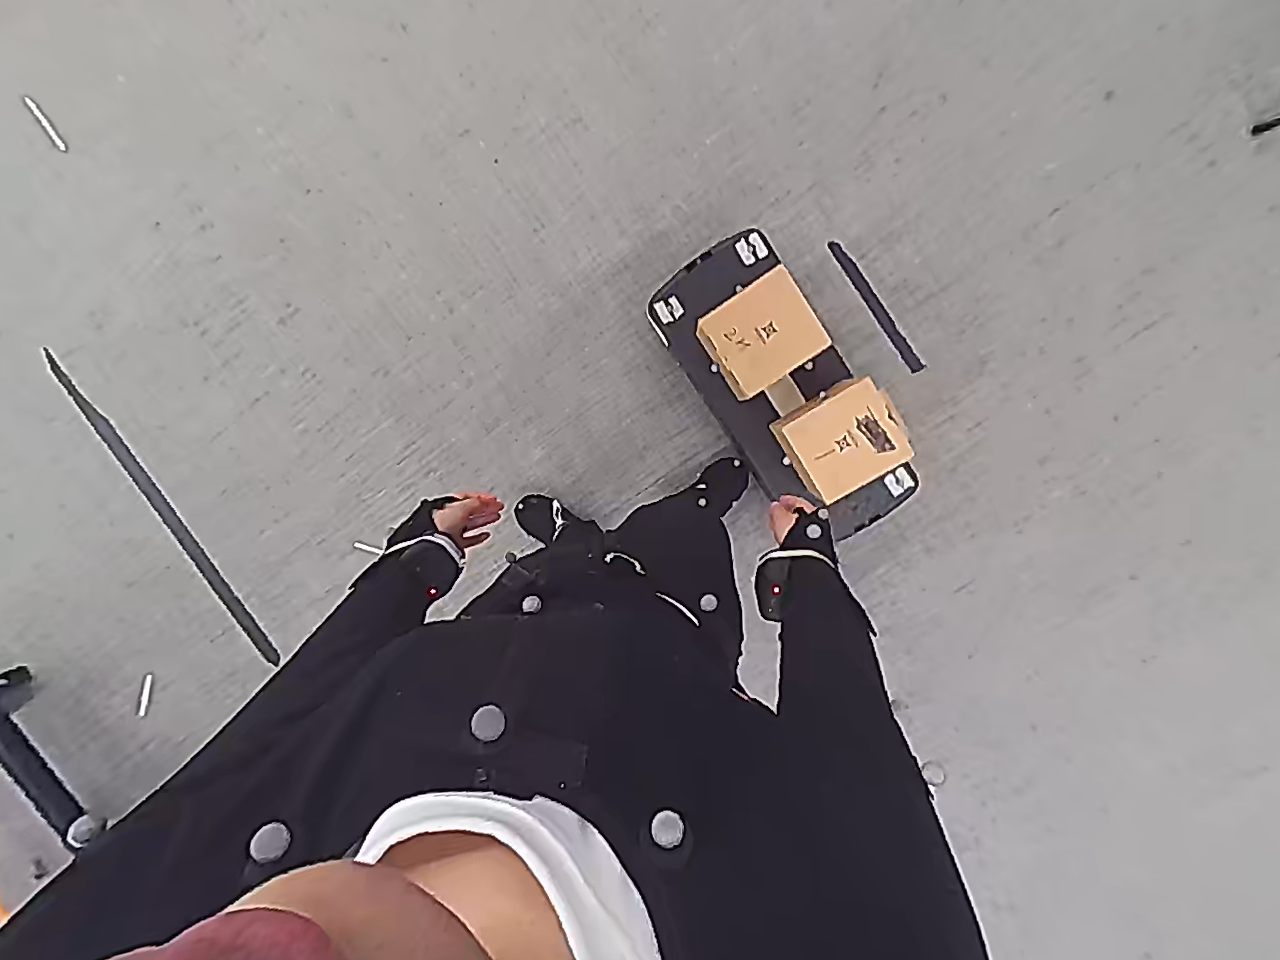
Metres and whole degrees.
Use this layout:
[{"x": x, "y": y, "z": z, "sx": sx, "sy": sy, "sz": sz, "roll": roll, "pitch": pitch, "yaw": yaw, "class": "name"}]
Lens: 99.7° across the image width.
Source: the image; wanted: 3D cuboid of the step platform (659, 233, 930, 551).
[{"x": 0.330, "y": -0.182, "z": 1.202, "sx": 0.286, "sy": 0.204, "sz": 0.684, "roll": -34, "pitch": 92, "yaw": 8, "class": "step platform"}]

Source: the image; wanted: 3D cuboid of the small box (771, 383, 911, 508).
[{"x": 0.372, "y": -0.072, "z": 1.036, "sx": 0.179, "sy": 0.176, "sz": 0.168, "roll": -31, "pitch": 93, "yaw": 9, "class": "small box"}]

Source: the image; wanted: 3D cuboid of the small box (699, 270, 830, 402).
[{"x": 0.224, "y": -0.262, "z": 1.025, "sx": 0.179, "sy": 0.176, "sz": 0.168, "roll": -33, "pitch": 93, "yaw": 8, "class": "small box"}]
